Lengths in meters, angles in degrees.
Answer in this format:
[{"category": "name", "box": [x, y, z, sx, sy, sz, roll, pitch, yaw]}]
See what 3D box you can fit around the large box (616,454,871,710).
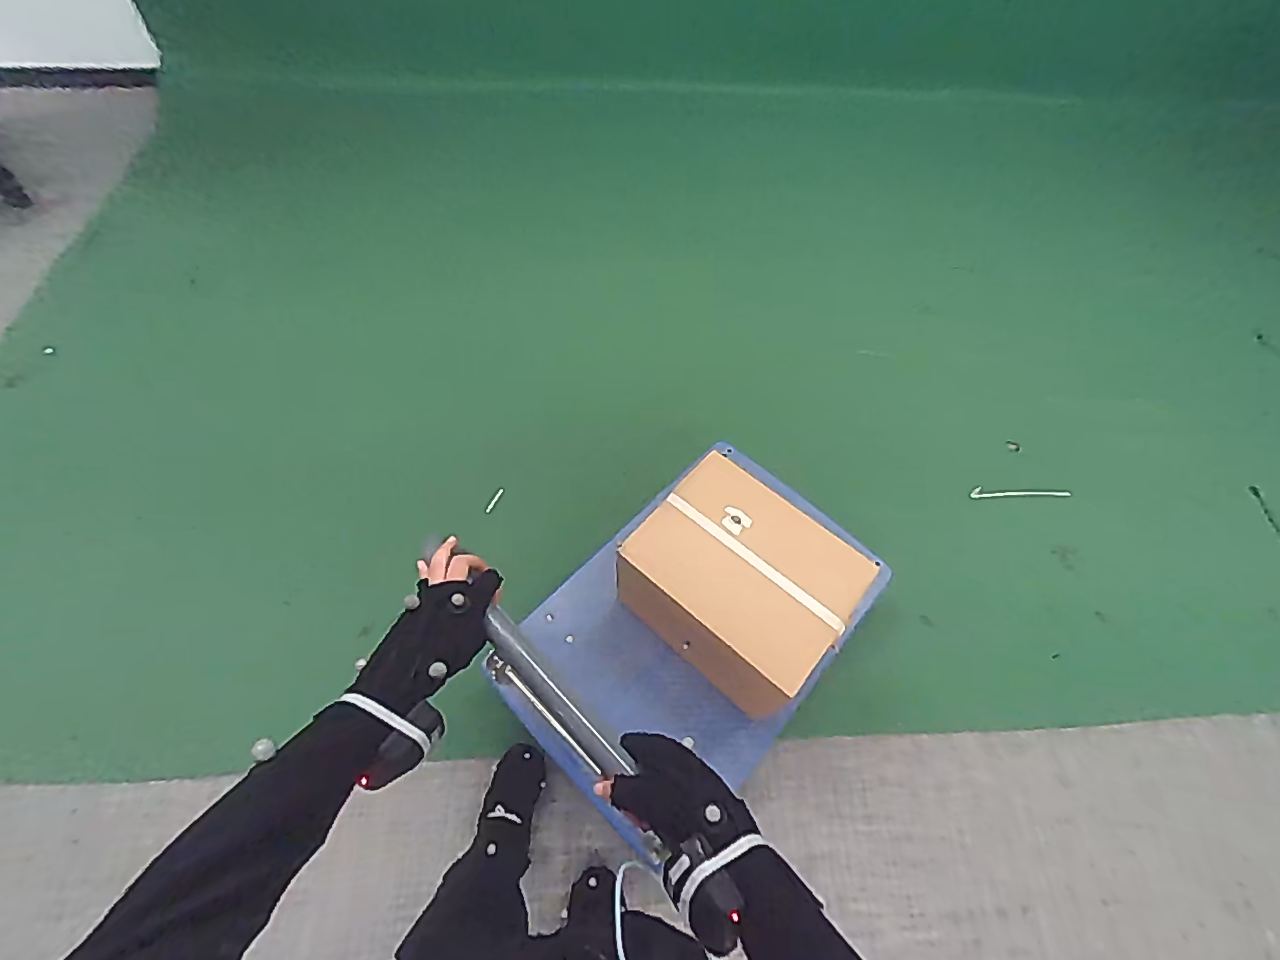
[{"category": "large box", "box": [0.200, 0.226, 1.175, 0.408, 0.320, 0.320, 37, 64, 18]}]
